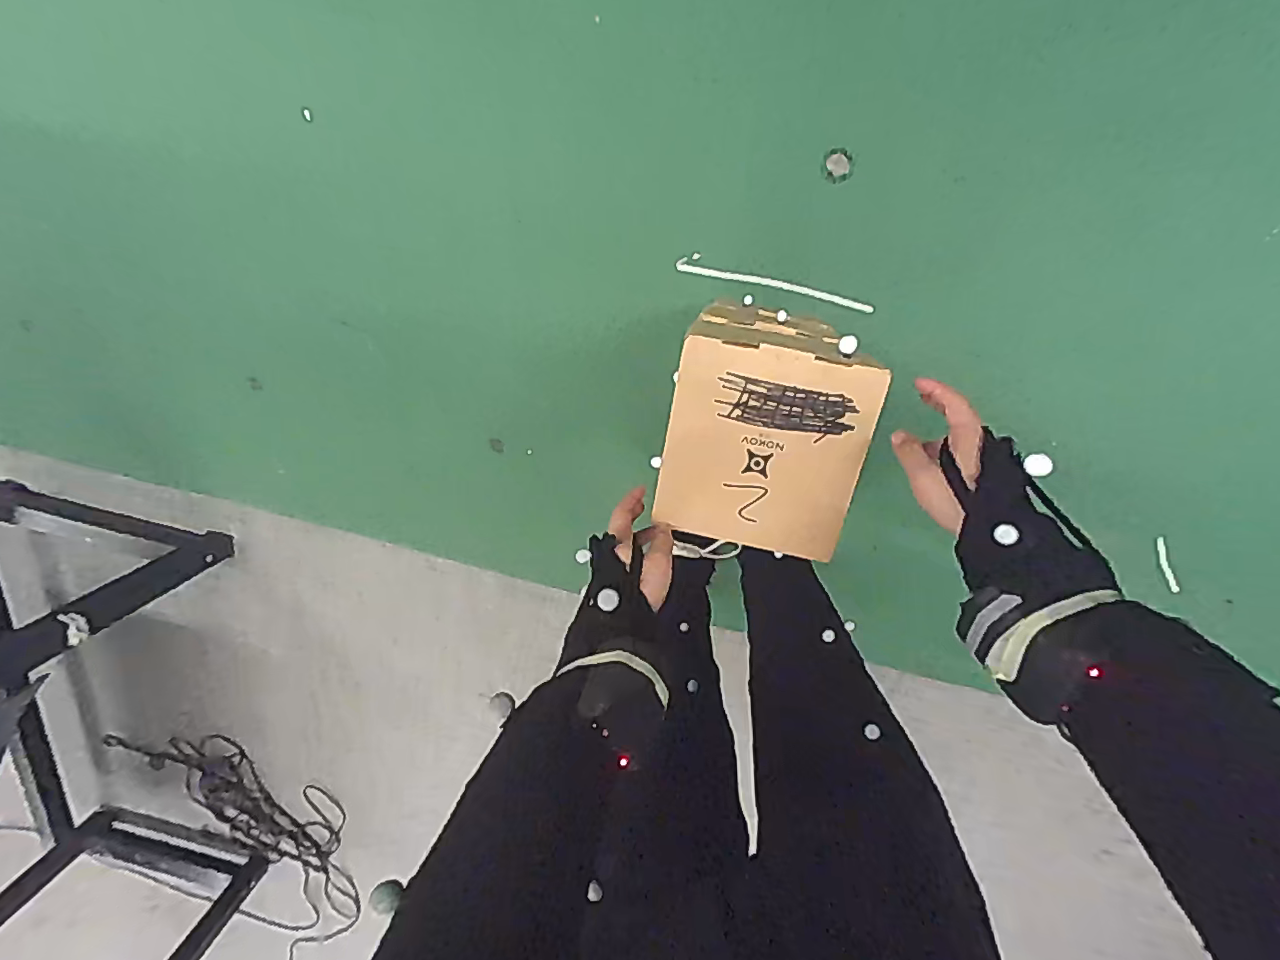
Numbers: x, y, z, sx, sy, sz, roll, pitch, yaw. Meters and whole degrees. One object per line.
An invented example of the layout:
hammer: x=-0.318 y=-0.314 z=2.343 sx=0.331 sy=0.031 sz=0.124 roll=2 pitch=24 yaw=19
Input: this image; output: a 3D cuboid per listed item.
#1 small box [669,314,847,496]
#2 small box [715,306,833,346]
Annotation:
small box: x=0.142 y=-0.105 z=0.684 sx=0.168 sy=0.176 sz=0.179 roll=12 pitch=111 yaw=5
small box: x=0.176 y=-0.163 z=0.832 sx=0.168 sy=0.176 sz=0.179 roll=13 pitch=113 yaw=5
